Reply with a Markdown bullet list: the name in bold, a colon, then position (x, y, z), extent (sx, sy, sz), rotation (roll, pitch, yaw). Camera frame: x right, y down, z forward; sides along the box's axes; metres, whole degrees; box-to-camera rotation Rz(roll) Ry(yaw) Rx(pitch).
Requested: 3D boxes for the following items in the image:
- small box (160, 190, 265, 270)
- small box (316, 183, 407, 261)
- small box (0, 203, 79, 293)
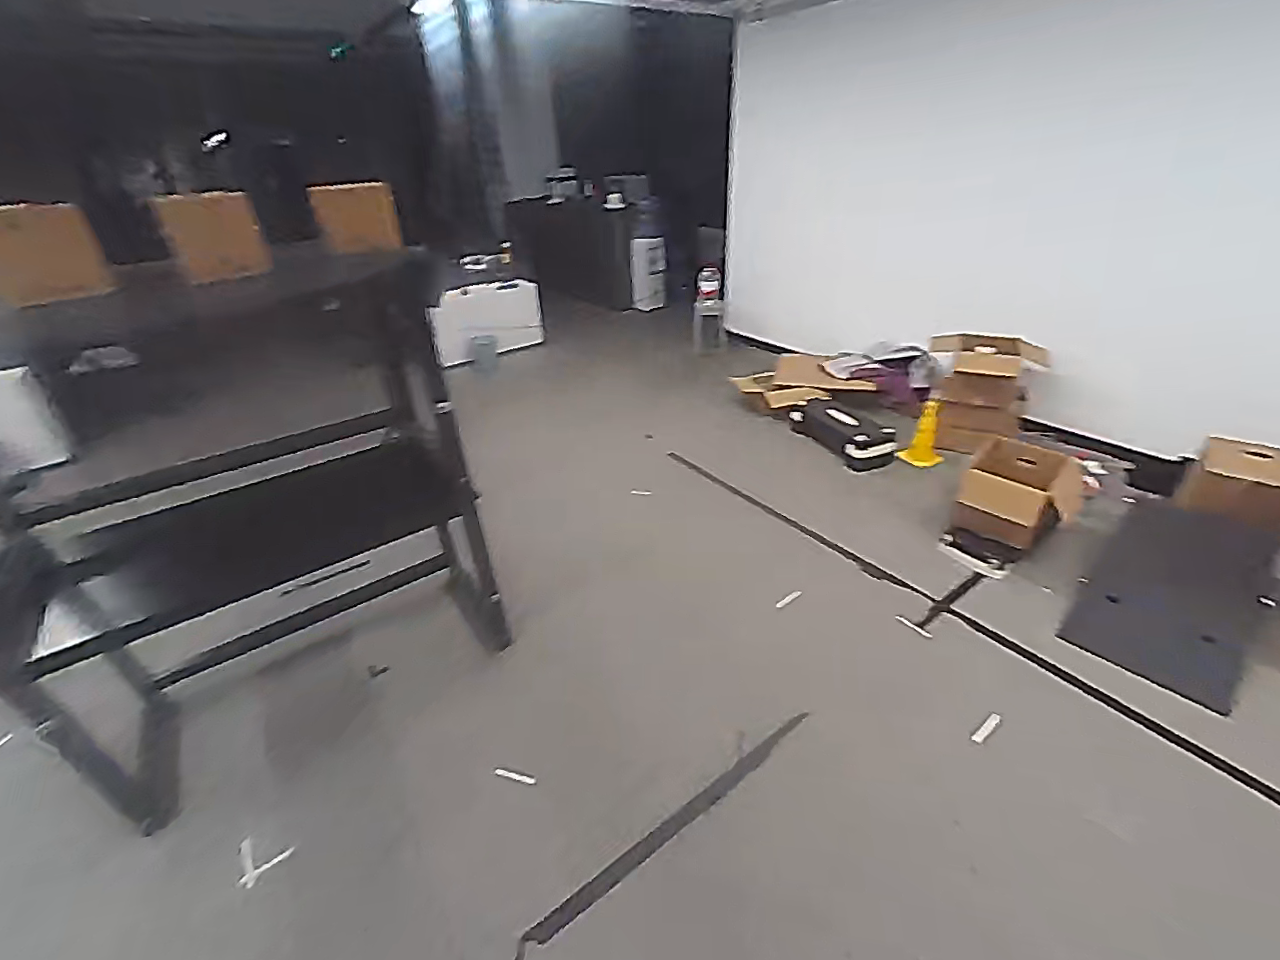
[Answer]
- **small box**: position (-1.102, -0.647, 1.399), extent (0.168, 0.176, 0.179), rotation (-24, 37, -31)
- **small box**: position (-0.731, -0.681, 1.424), extent (0.168, 0.176, 0.179), rotation (-20, 36, -25)
- **small box**: position (-1.440, -0.532, 1.238), extent (0.168, 0.176, 0.179), rotation (-25, 39, -31)
